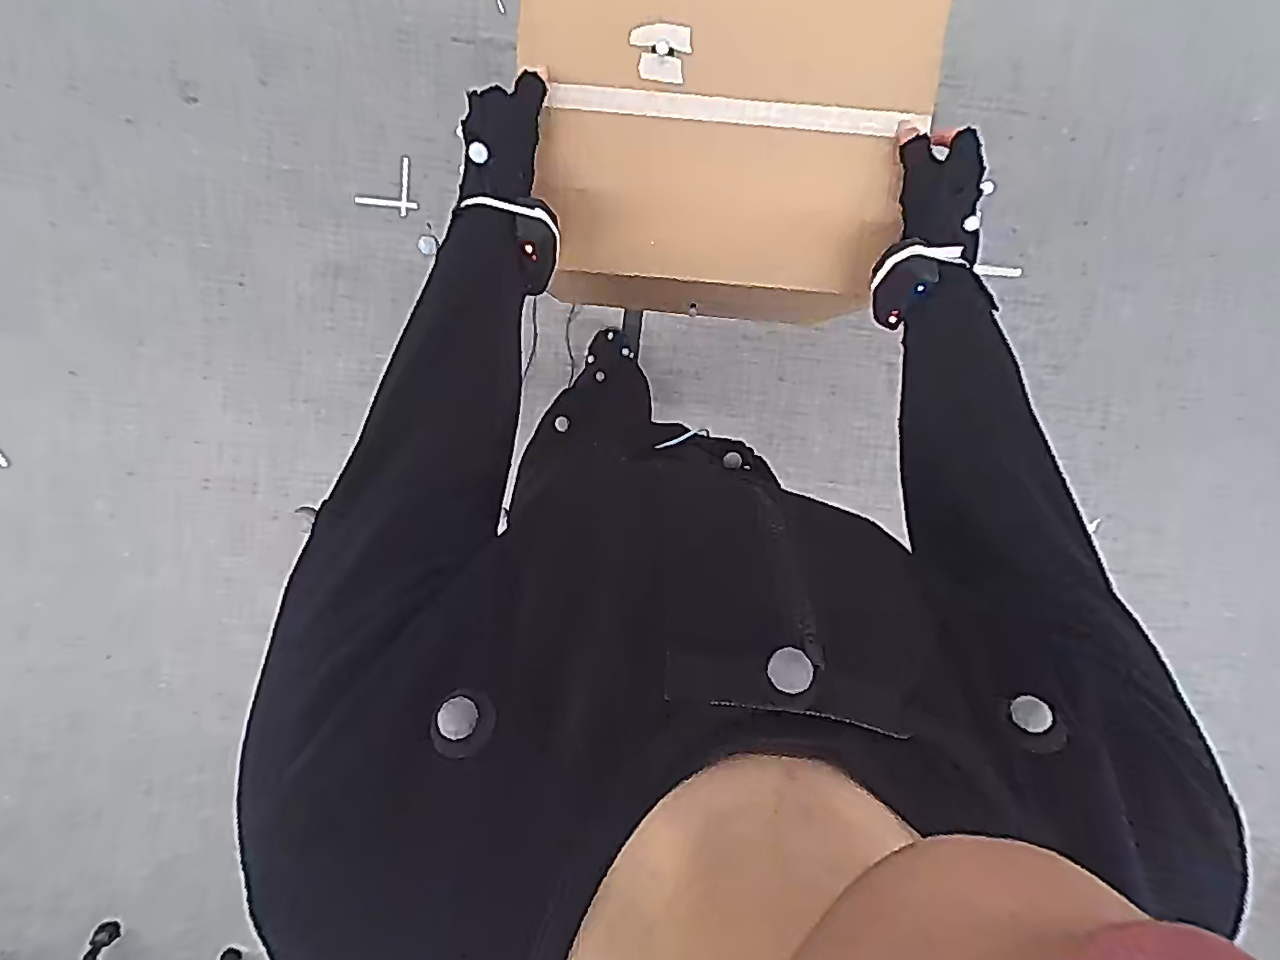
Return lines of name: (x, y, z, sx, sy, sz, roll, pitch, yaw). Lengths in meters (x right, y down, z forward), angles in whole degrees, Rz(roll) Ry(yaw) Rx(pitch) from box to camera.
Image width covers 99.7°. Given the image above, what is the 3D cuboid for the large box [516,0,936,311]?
large box: (0.082, -0.397, 0.683, 0.408, 0.320, 0.320, 5, 100, 0)
